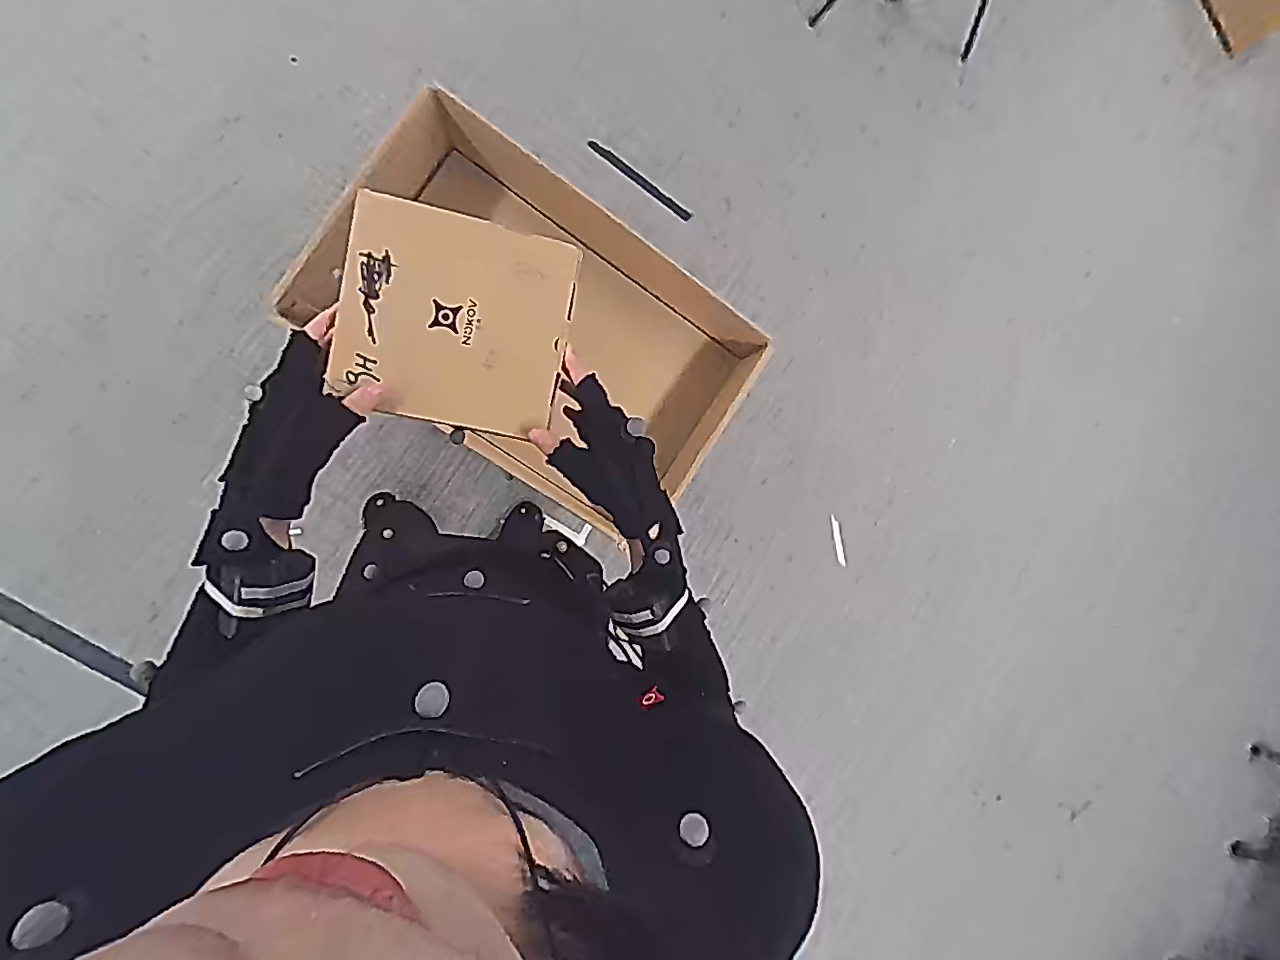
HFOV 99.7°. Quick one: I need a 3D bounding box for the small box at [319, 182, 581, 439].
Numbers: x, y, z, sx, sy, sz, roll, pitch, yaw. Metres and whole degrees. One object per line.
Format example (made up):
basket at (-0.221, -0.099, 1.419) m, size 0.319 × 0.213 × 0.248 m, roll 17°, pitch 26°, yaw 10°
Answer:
small box at (-0.163, -0.136, 0.503) m, size 0.179 × 0.176 × 0.168 m, roll 10°, pitch 92°, yaw -13°
